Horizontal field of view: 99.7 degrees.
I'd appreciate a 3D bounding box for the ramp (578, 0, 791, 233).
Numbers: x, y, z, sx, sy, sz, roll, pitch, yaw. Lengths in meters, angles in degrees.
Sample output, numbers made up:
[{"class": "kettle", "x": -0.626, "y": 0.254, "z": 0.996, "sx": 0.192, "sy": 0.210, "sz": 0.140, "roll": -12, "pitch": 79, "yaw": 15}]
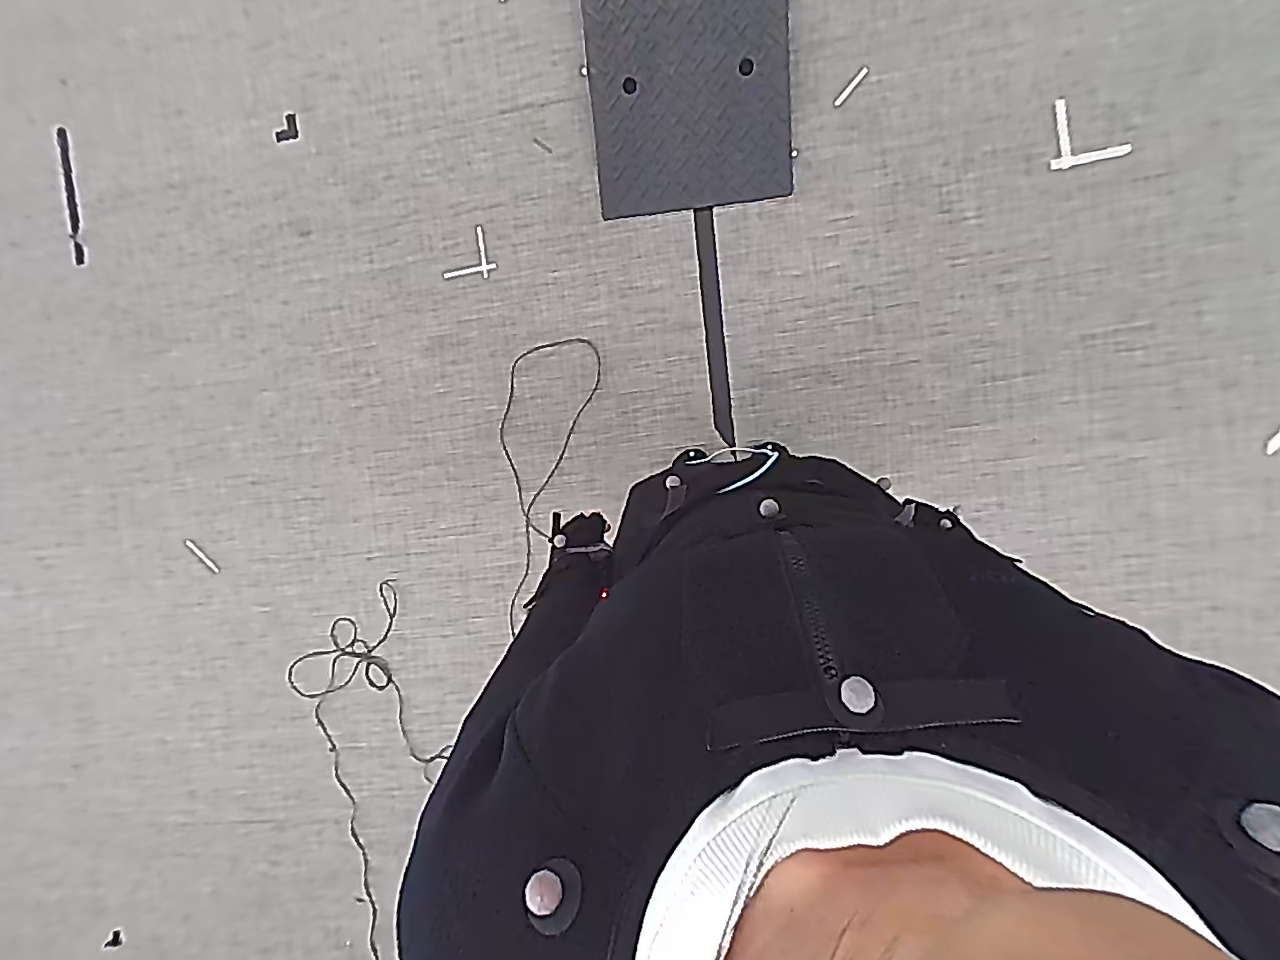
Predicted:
[{"class": "ramp", "x": 0.093, "y": -1.167, "z": 1.316, "sx": 0.509, "sy": 0.206, "sz": 0.991, "roll": -7, "pitch": 93, "yaw": 7}]
